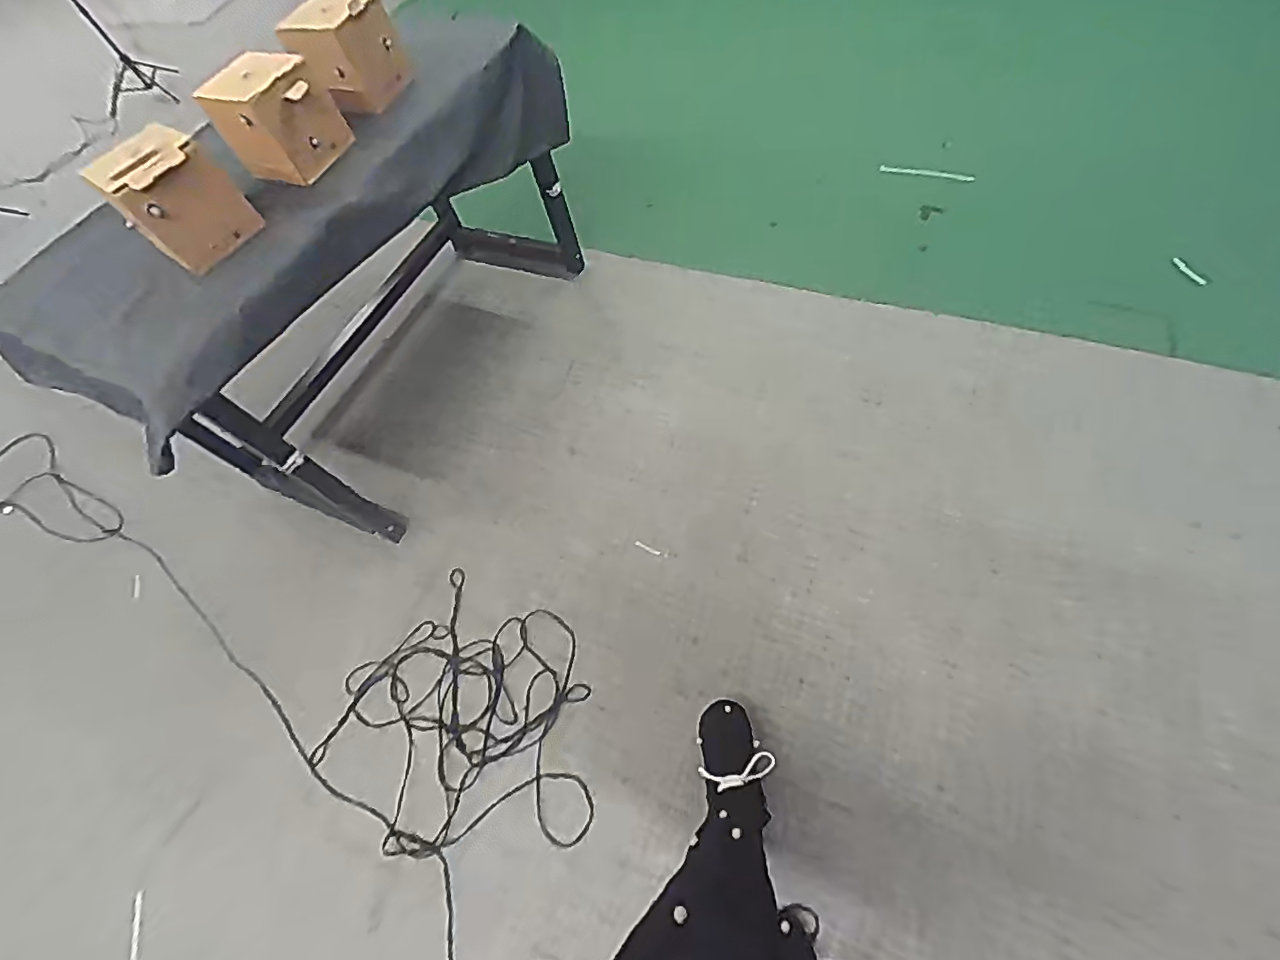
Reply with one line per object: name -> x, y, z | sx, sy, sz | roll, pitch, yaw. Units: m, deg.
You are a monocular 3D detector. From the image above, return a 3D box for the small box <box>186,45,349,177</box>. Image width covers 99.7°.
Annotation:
small box -> -0.749, -0.750, 1.105 | 0.179, 0.176, 0.168 | 18, 66, 18

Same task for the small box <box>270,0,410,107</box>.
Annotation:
small box -> -0.655, -0.962, 1.204 | 0.179, 0.176, 0.168 | 15, 64, 19
